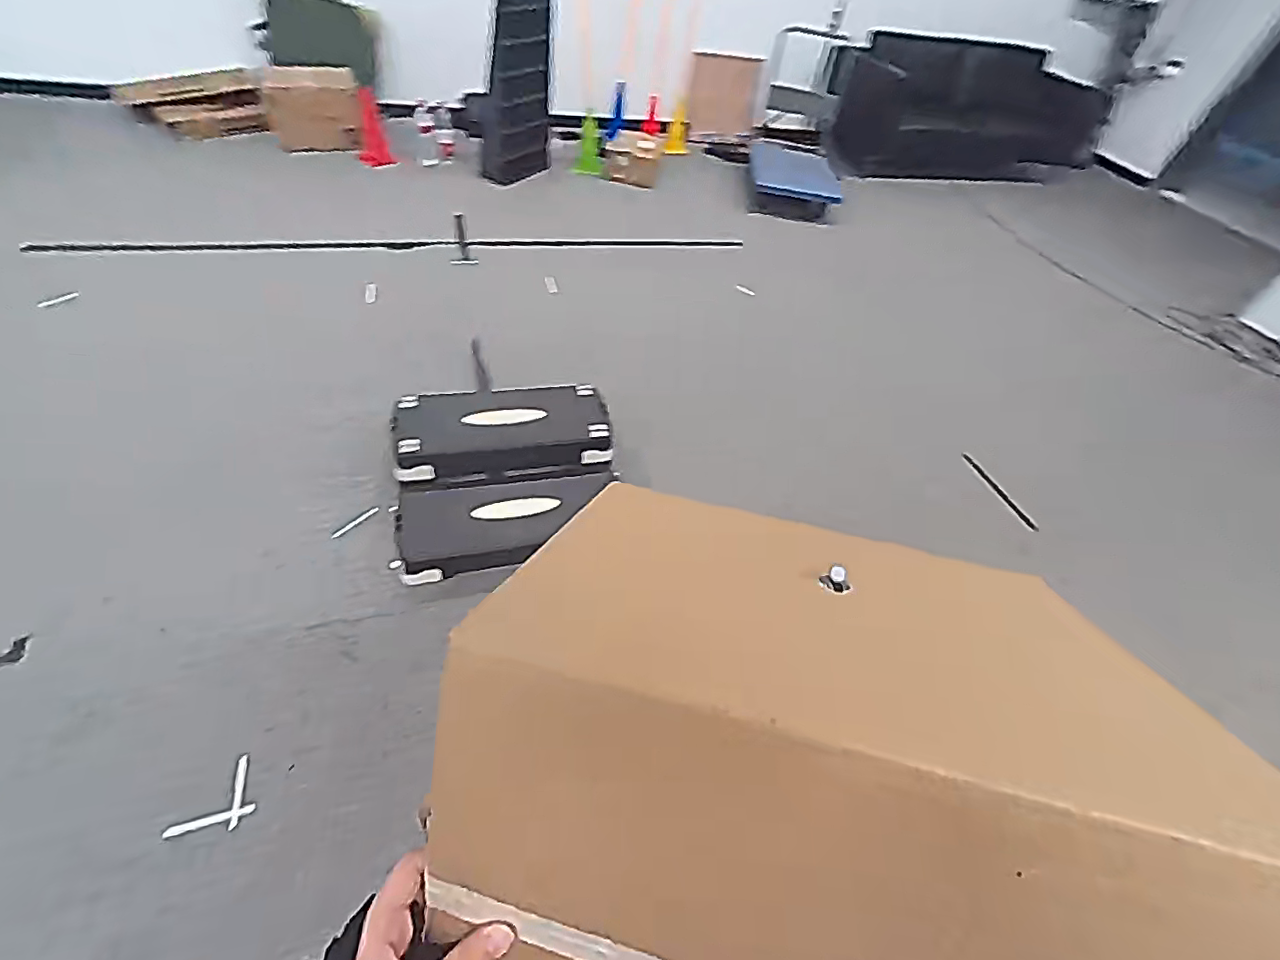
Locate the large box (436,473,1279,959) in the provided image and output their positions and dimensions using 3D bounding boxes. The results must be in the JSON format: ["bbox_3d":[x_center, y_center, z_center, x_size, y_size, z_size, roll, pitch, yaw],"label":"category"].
[{"bbox_3d":[0.113,0.200,0.403,0.408,0.320,0.320,11,16,8],"label":"large box"}]

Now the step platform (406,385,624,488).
[{"bbox_3d":[-0.396,-0.153,1.766,0.684,0.204,0.286,-2,49,-13],"label":"step platform"}]
